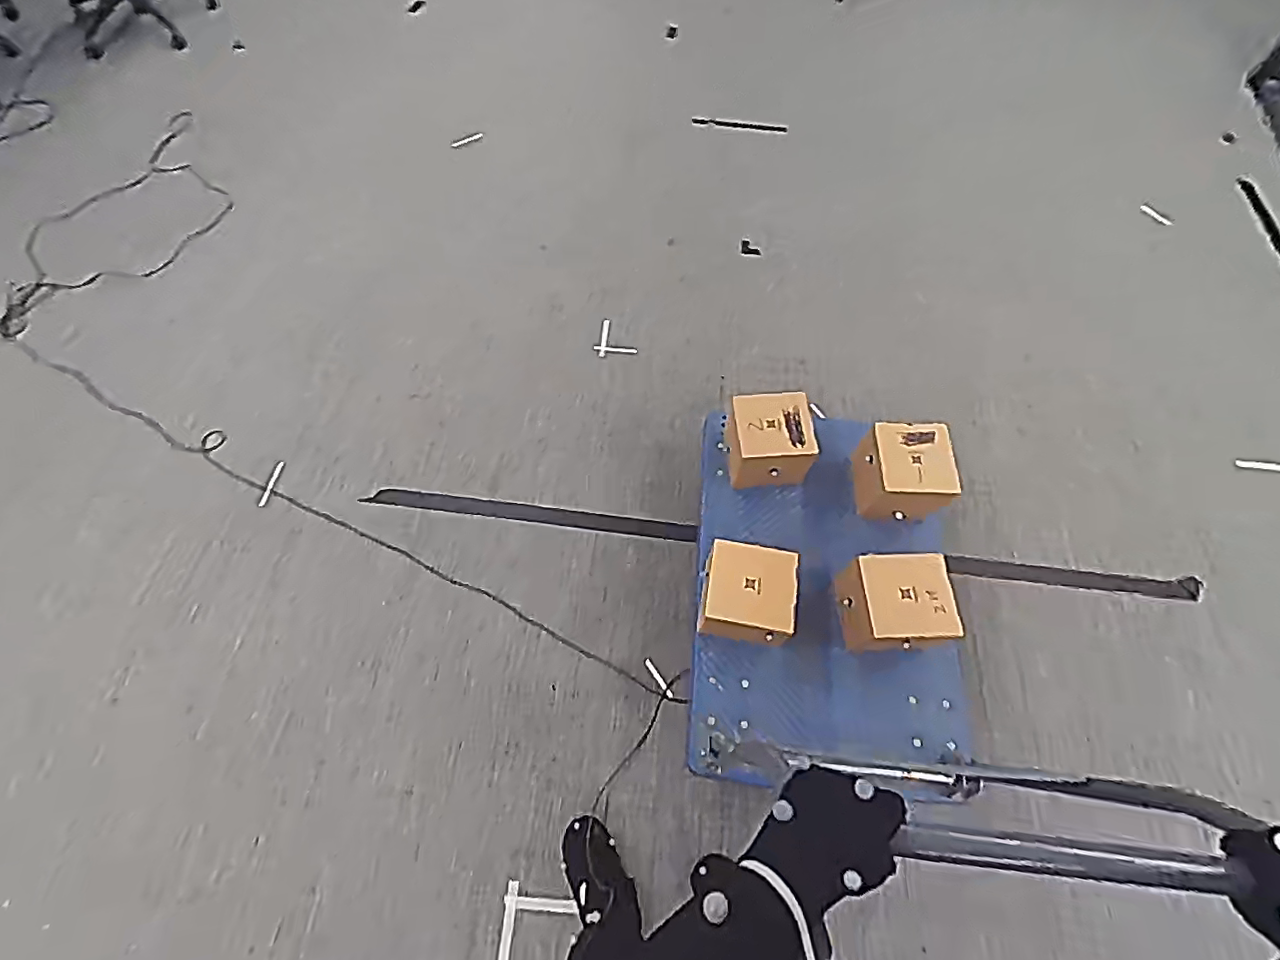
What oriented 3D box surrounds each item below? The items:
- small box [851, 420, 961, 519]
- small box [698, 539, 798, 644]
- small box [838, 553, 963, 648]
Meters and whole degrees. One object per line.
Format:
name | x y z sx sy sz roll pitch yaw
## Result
small box | 0.610 -0.021 1.265 0.168 0.176 0.179 1 66 2
small box | 0.223 0.242 1.148 0.179 0.176 0.168 9 65 3
small box | 0.531 0.257 1.136 0.179 0.176 0.168 -1 65 0
